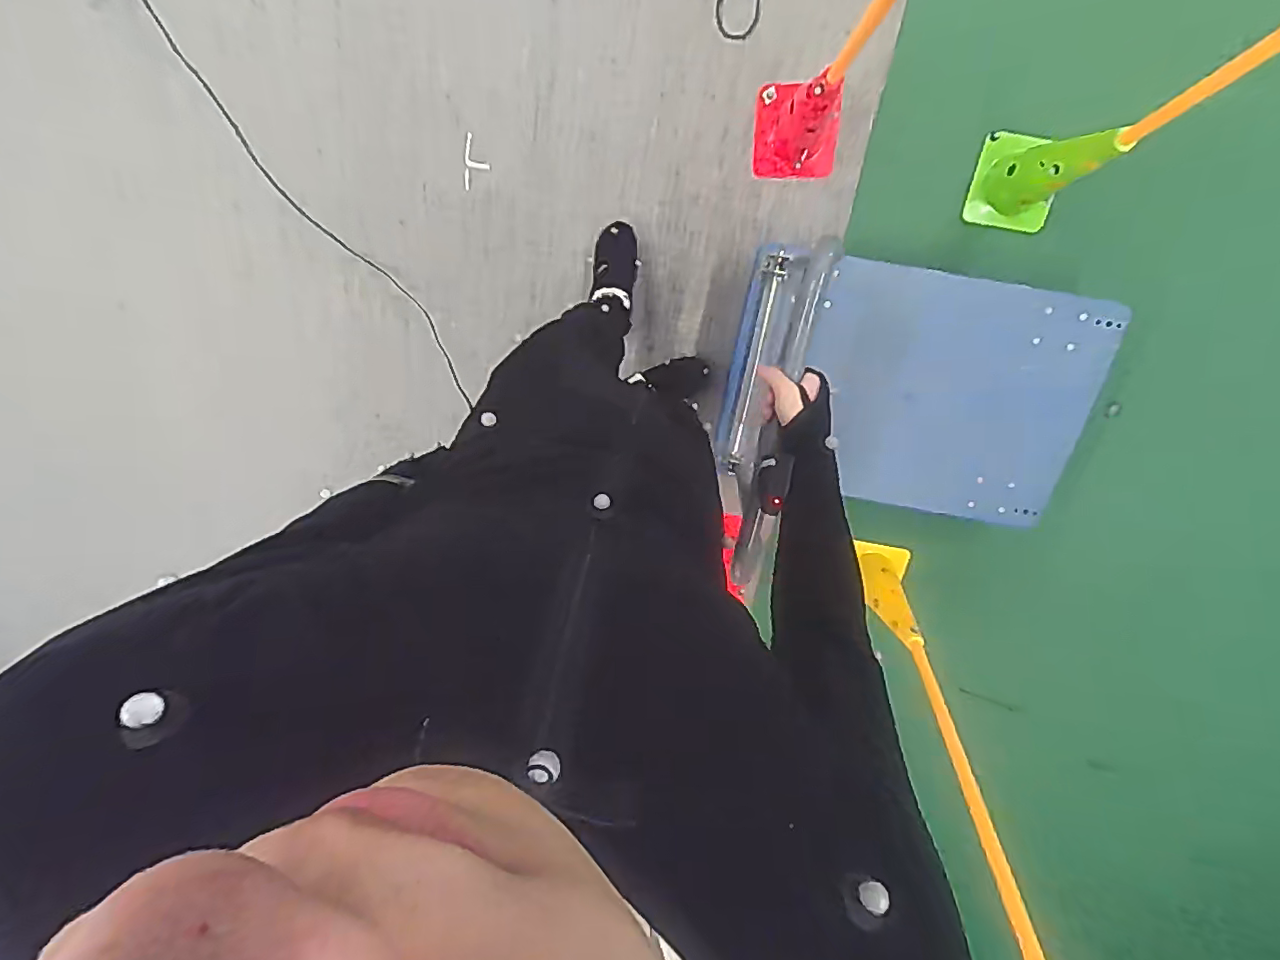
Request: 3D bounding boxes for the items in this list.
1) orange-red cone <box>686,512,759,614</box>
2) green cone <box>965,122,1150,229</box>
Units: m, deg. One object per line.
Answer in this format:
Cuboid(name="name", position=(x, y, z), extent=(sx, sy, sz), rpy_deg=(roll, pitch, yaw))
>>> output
Cuboid(name="orange-red cone", position=(0.245, 0.257, 1.504), extent=(0.199, 0.360, 0.198), rpy_deg=(10, 110, -1))
Cuboid(name="green cone", position=(0.895, -0.669, 1.134), extent=(0.202, 0.368, 0.200), rpy_deg=(10, 109, 0))
